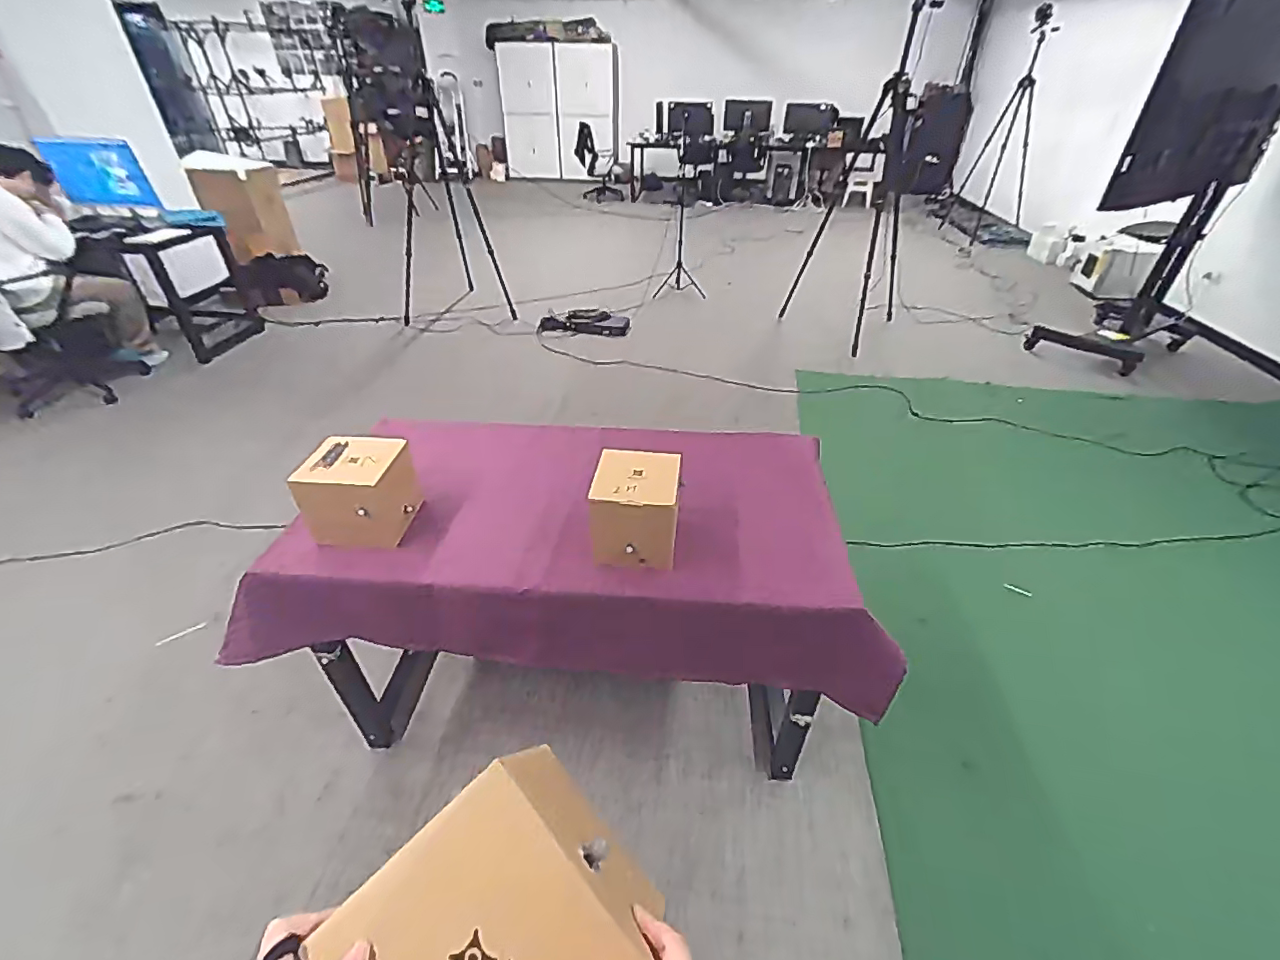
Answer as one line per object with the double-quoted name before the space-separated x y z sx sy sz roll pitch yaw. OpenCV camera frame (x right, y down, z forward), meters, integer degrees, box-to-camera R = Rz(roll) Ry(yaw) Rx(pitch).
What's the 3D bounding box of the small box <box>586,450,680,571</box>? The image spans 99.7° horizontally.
"small box" -0.010 0.060 1.107 0.168 0.176 0.179 4 37 6
